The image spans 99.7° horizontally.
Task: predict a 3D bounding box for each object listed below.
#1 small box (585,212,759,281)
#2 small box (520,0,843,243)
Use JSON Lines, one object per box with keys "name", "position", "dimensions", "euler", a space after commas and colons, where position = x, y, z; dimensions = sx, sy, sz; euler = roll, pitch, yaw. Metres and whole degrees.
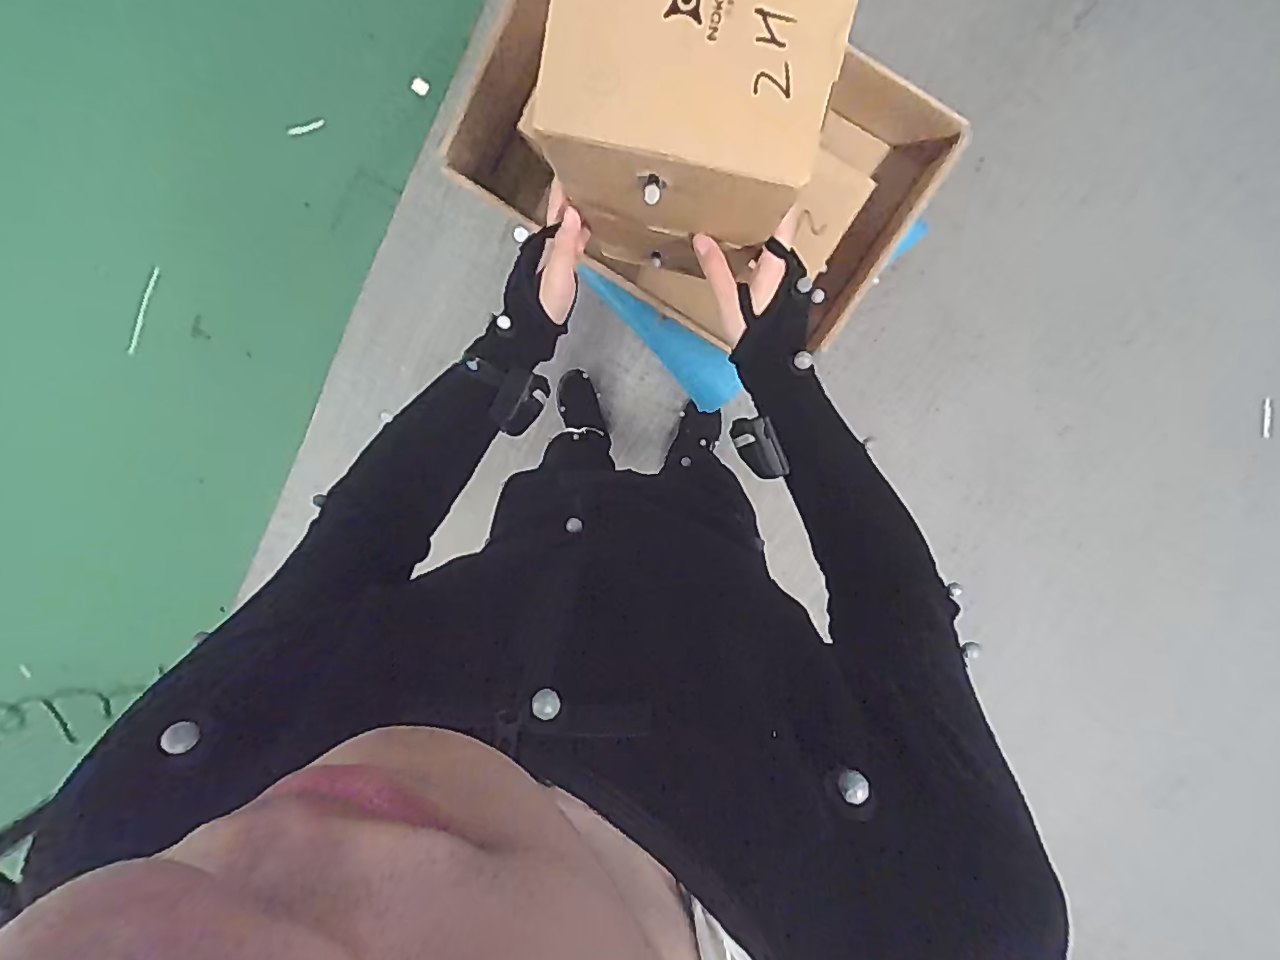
{"name": "small box", "position": [0.045, -0.320, 0.551], "dimensions": [0.168, 0.176, 0.179], "euler": [12, 101, 0]}
{"name": "small box", "position": [0.031, -0.286, 0.390], "dimensions": [0.179, 0.176, 0.168], "euler": [12, 102, 0]}
